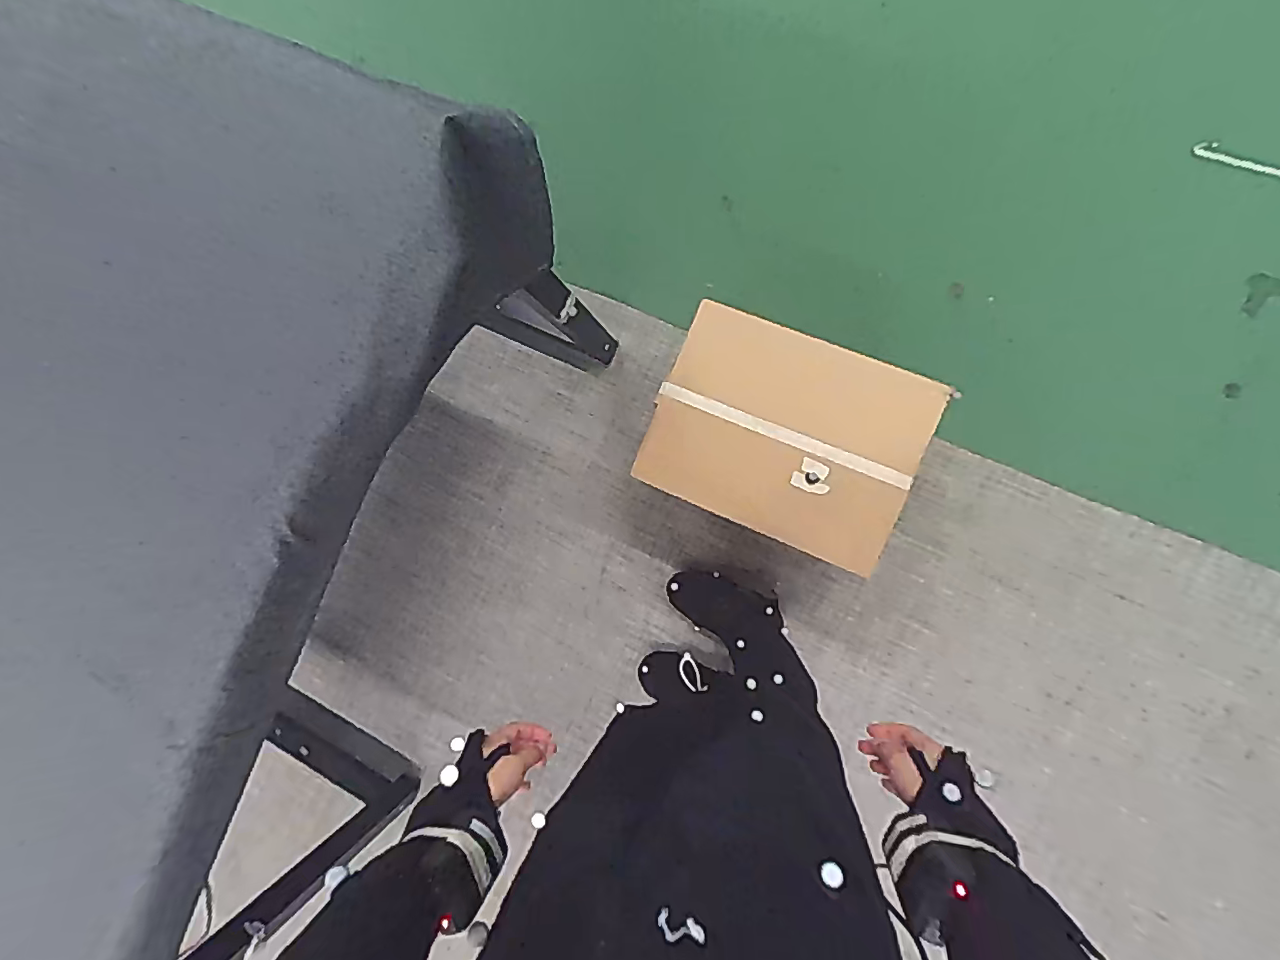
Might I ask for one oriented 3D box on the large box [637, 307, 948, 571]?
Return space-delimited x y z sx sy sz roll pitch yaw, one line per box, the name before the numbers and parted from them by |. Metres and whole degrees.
large box | 0.252 -0.067 0.995 0.408 0.320 0.320 23 93 10
